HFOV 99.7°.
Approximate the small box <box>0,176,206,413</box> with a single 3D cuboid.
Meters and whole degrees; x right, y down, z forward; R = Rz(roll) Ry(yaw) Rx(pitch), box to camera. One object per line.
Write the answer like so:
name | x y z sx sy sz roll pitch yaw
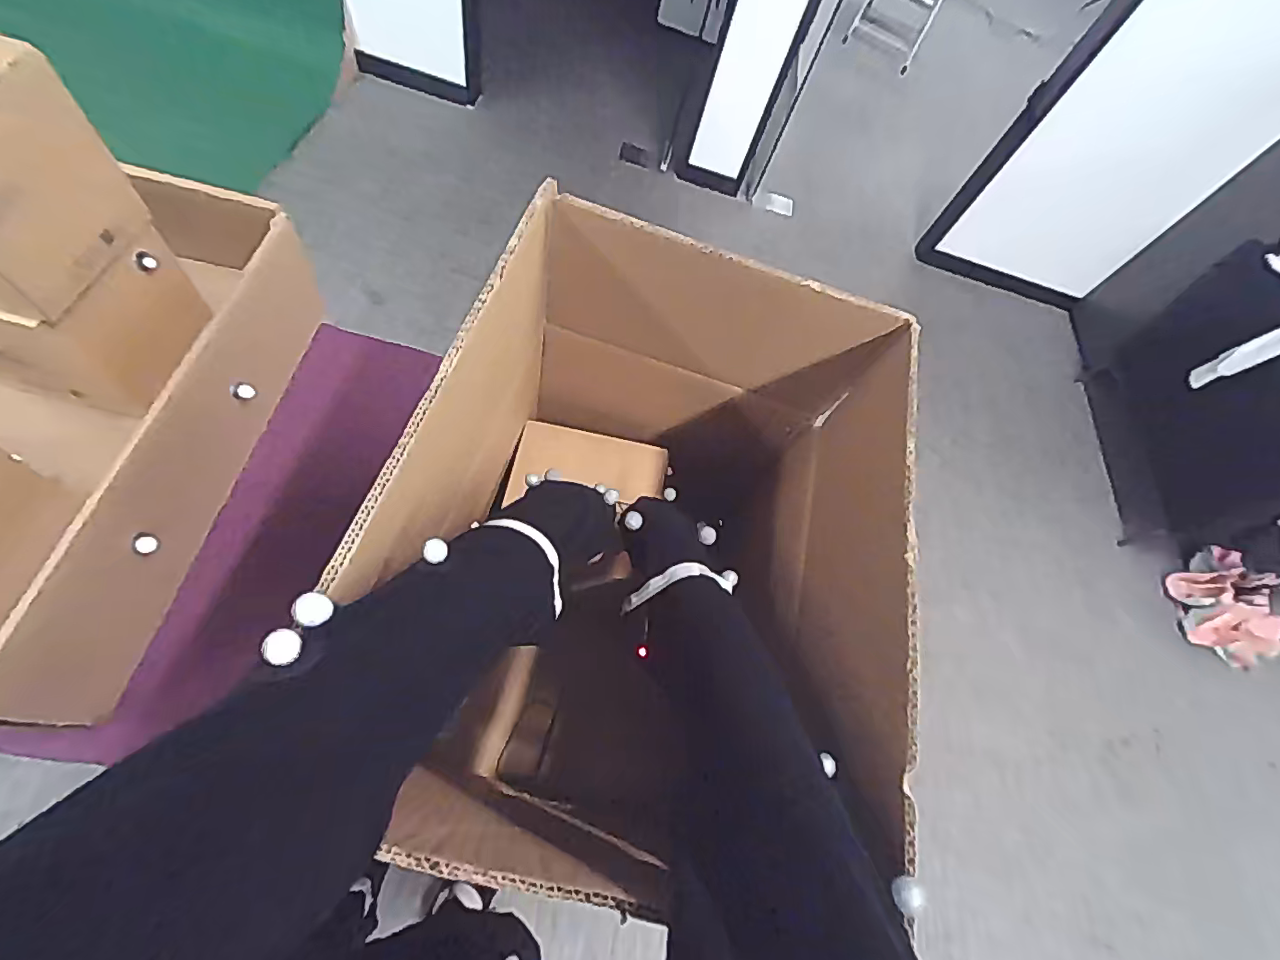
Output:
small box | -0.660 -0.203 0.625 0.168 0.176 0.179 15 61 -5
